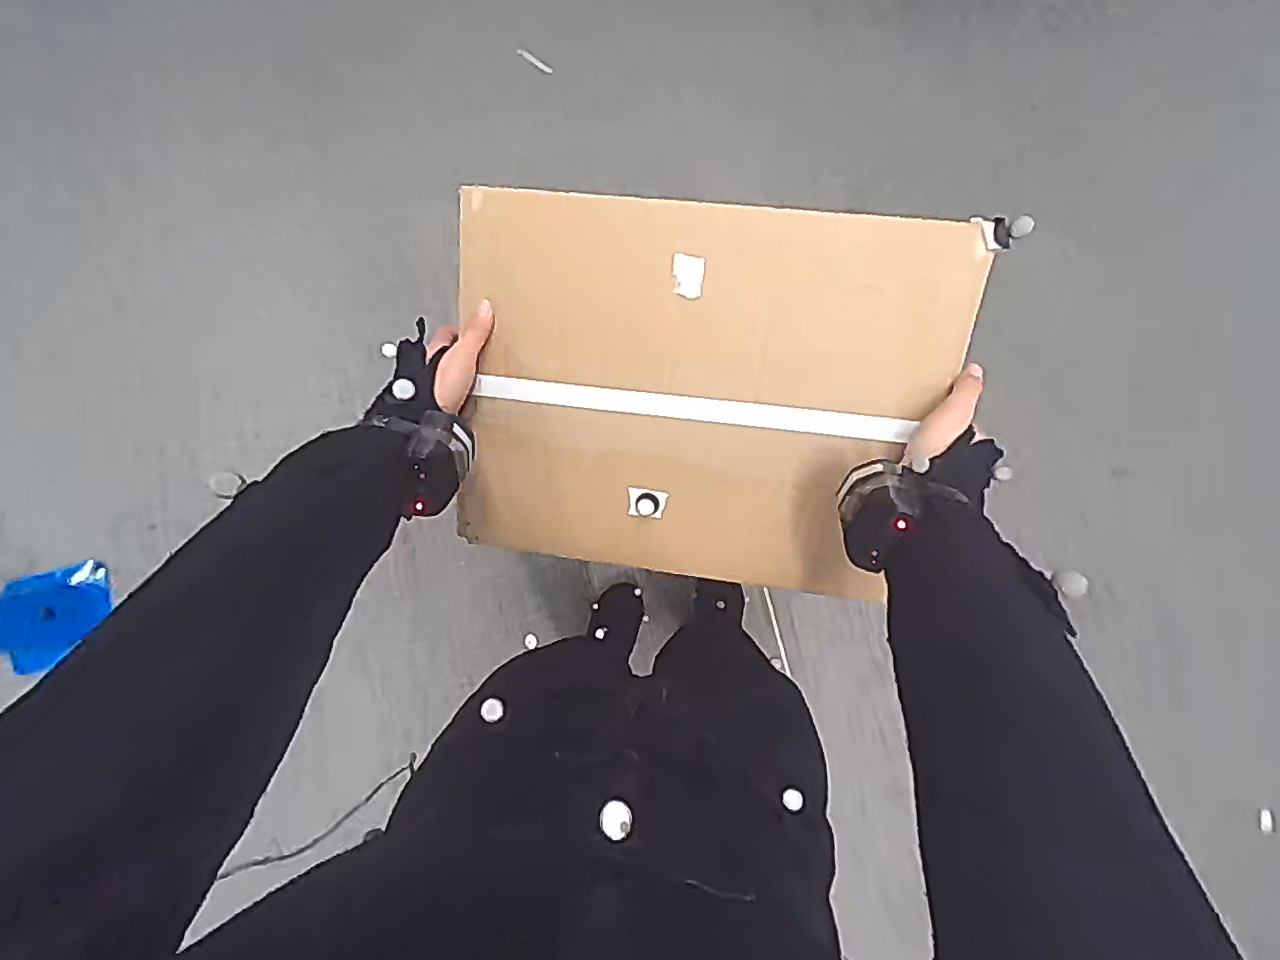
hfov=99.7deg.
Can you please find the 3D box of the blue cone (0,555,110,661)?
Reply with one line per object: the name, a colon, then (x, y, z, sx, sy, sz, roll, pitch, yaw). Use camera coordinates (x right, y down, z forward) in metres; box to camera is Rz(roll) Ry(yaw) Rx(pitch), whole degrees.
blue cone: (-1.202, 0.243, 0.969, 0.193, 0.380, 0.192, -12, 82, -6)
